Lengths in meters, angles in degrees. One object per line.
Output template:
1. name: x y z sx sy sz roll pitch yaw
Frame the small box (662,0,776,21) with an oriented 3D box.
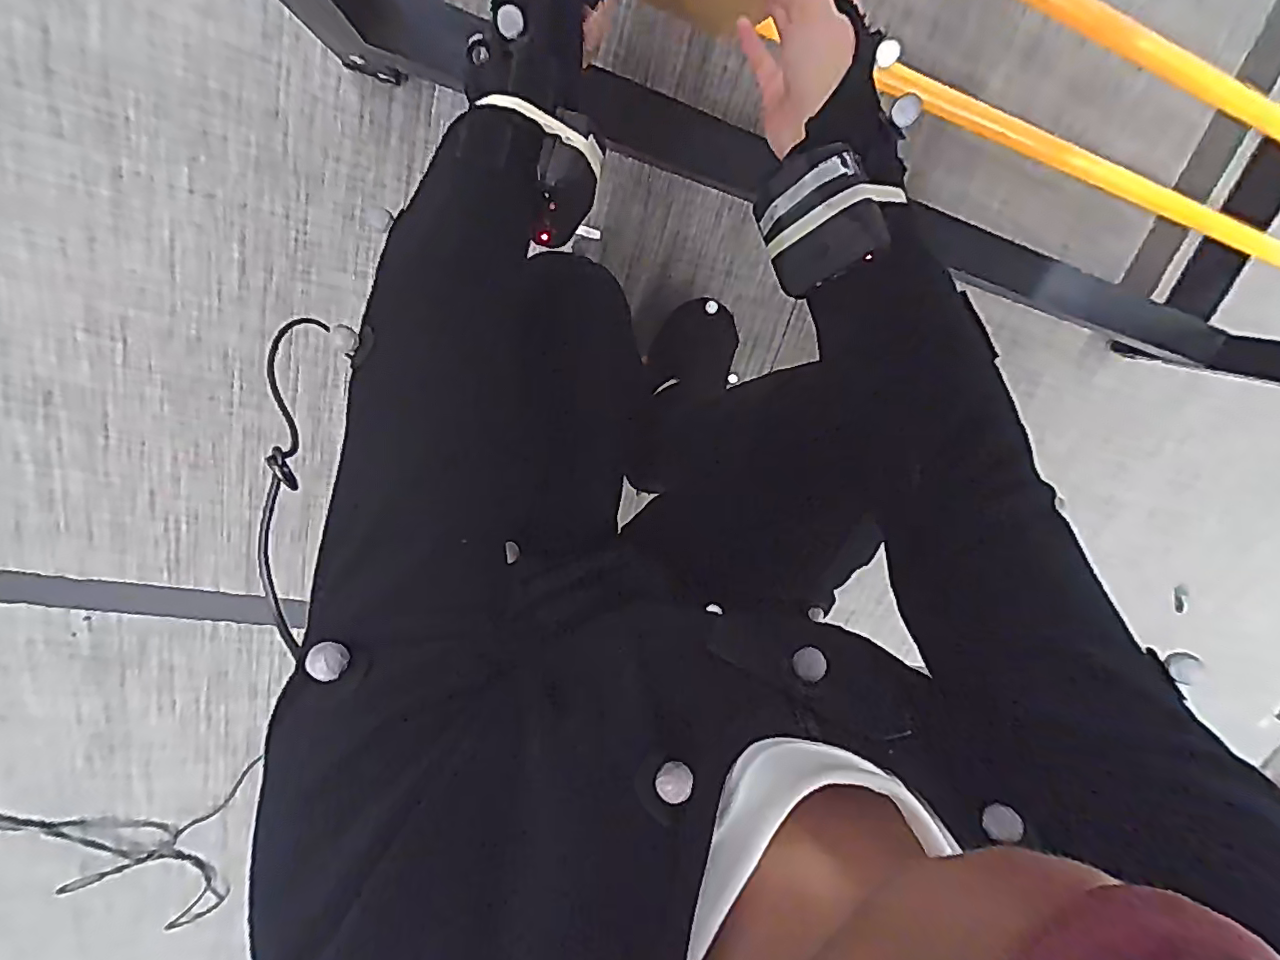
1. small box: 0.052 -0.467 0.380 0.179 0.176 0.168 9 114 -18
